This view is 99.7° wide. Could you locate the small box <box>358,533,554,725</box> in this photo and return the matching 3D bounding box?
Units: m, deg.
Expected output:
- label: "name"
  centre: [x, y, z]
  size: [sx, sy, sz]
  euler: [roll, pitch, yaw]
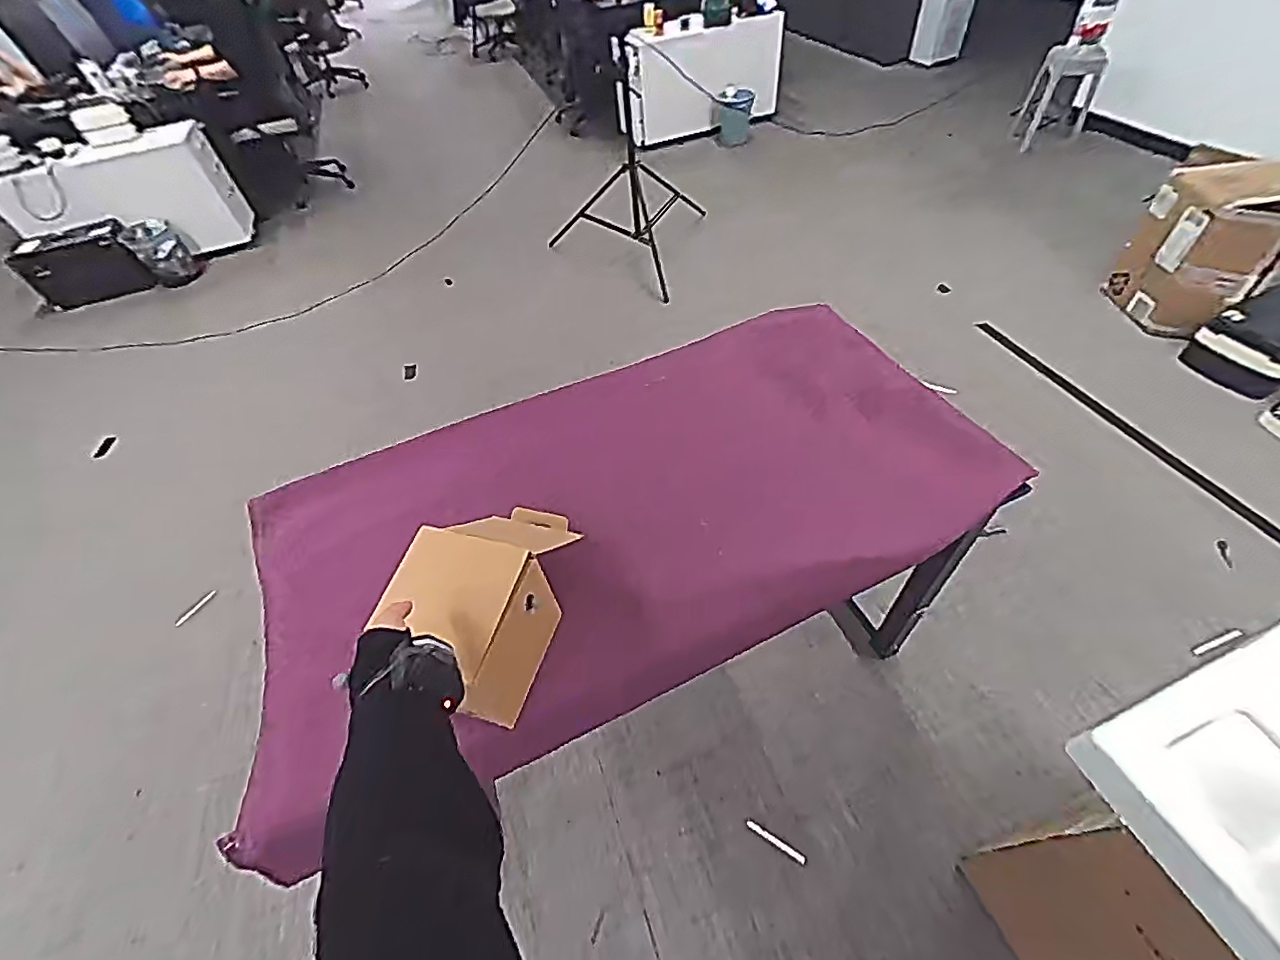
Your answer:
- label: "small box"
  centre: [-0.231, 0.203, 0.737]
  size: [0.168, 0.176, 0.179]
  euler: [10, 52, 16]
